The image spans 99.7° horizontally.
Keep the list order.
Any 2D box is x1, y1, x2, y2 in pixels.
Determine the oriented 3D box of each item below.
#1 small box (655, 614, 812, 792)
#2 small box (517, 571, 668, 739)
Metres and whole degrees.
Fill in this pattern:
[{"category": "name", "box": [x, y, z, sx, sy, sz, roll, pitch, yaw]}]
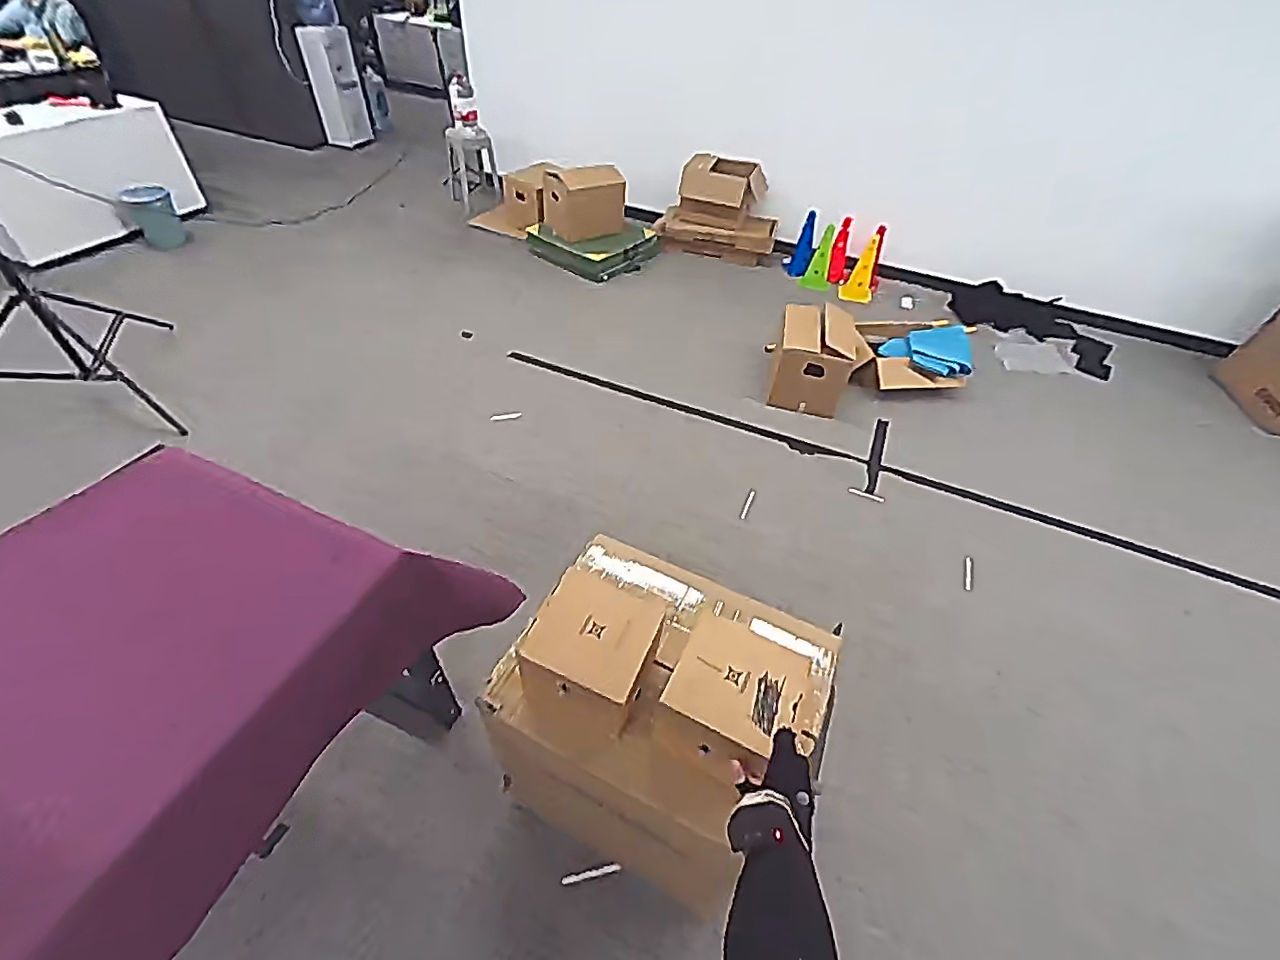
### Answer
[{"category": "small box", "box": [0.136, 0.343, 0.821, 0.179, 0.176, 0.168, 21, 48, 18]}, {"category": "small box", "box": [-0.074, 0.283, 0.864, 0.179, 0.176, 0.168, 21, 49, 13]}]
